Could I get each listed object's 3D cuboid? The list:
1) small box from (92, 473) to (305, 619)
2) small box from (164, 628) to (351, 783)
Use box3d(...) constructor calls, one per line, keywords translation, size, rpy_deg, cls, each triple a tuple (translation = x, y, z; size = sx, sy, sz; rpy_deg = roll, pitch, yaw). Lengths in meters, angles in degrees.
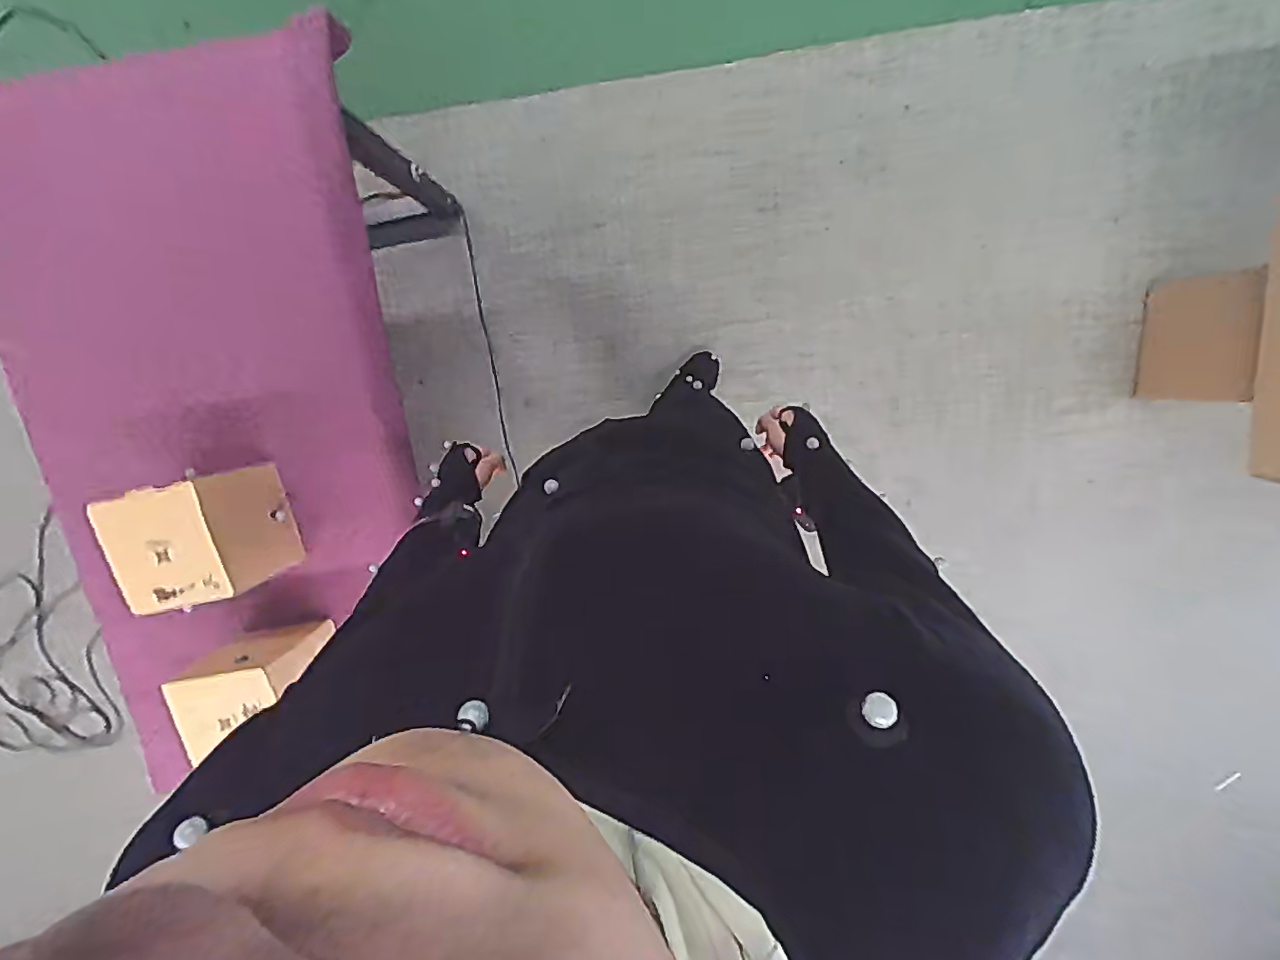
box3d(translation=(-0.676, 0.092, 0.851), size=(0.168, 0.176, 0.179), rpy_deg=(-12, 100, 5), cls="small box")
box3d(translation=(-0.616, 0.364, 0.901), size=(0.179, 0.176, 0.168), rpy_deg=(-11, 100, 5), cls="small box")
